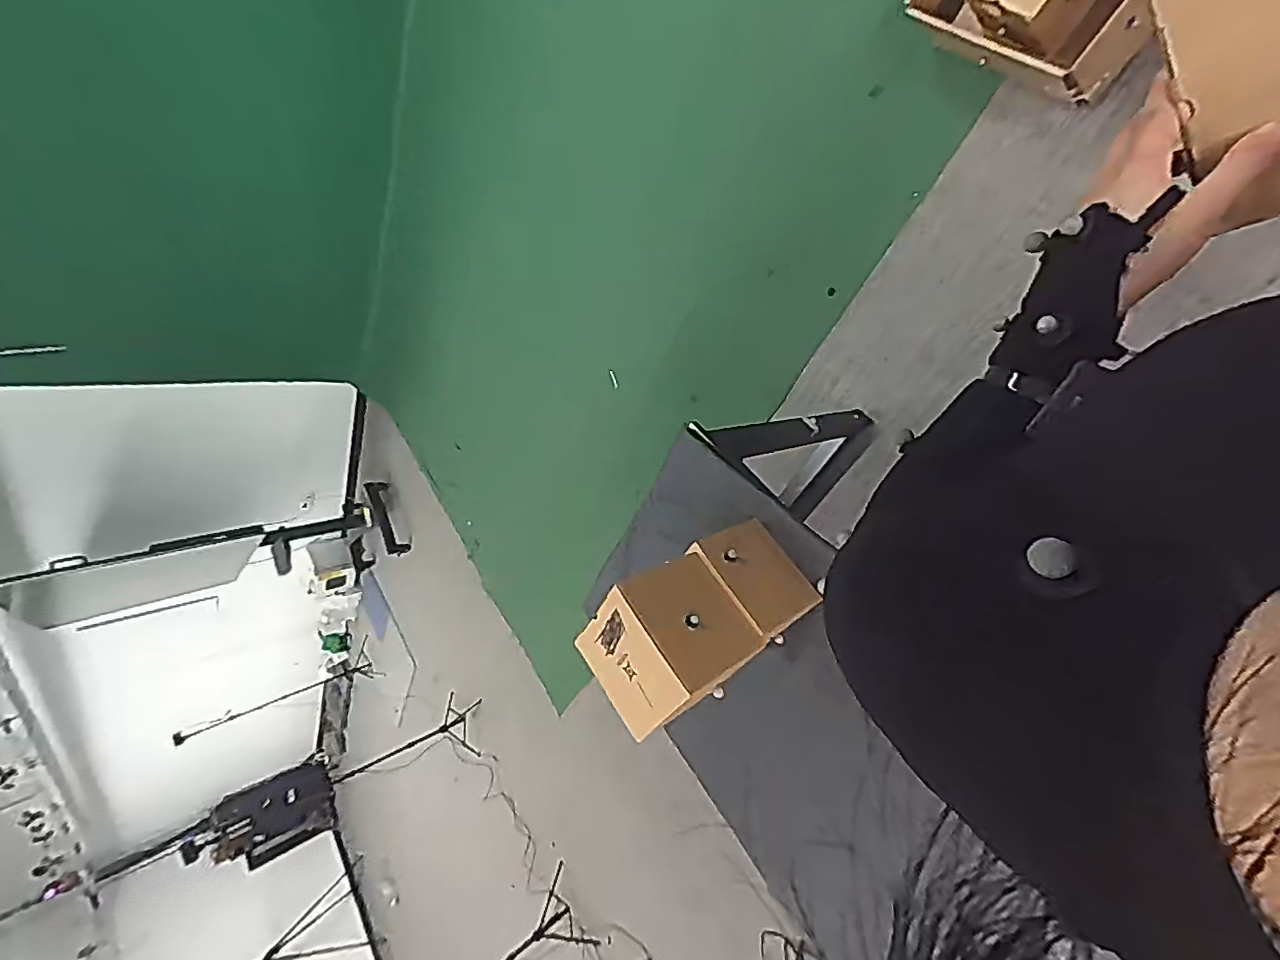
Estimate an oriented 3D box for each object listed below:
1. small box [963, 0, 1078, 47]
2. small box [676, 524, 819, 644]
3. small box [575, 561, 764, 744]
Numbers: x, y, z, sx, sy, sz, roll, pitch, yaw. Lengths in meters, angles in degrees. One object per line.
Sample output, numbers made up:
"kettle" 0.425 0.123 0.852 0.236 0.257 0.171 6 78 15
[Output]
"small box" 0.748 -0.972 1.023 0.168 0.176 0.179 51 130 24
"small box" 0.155 0.190 0.896 0.179 0.176 0.168 53 133 22
"small box" 0.041 0.237 0.786 0.179 0.176 0.168 51 132 23
